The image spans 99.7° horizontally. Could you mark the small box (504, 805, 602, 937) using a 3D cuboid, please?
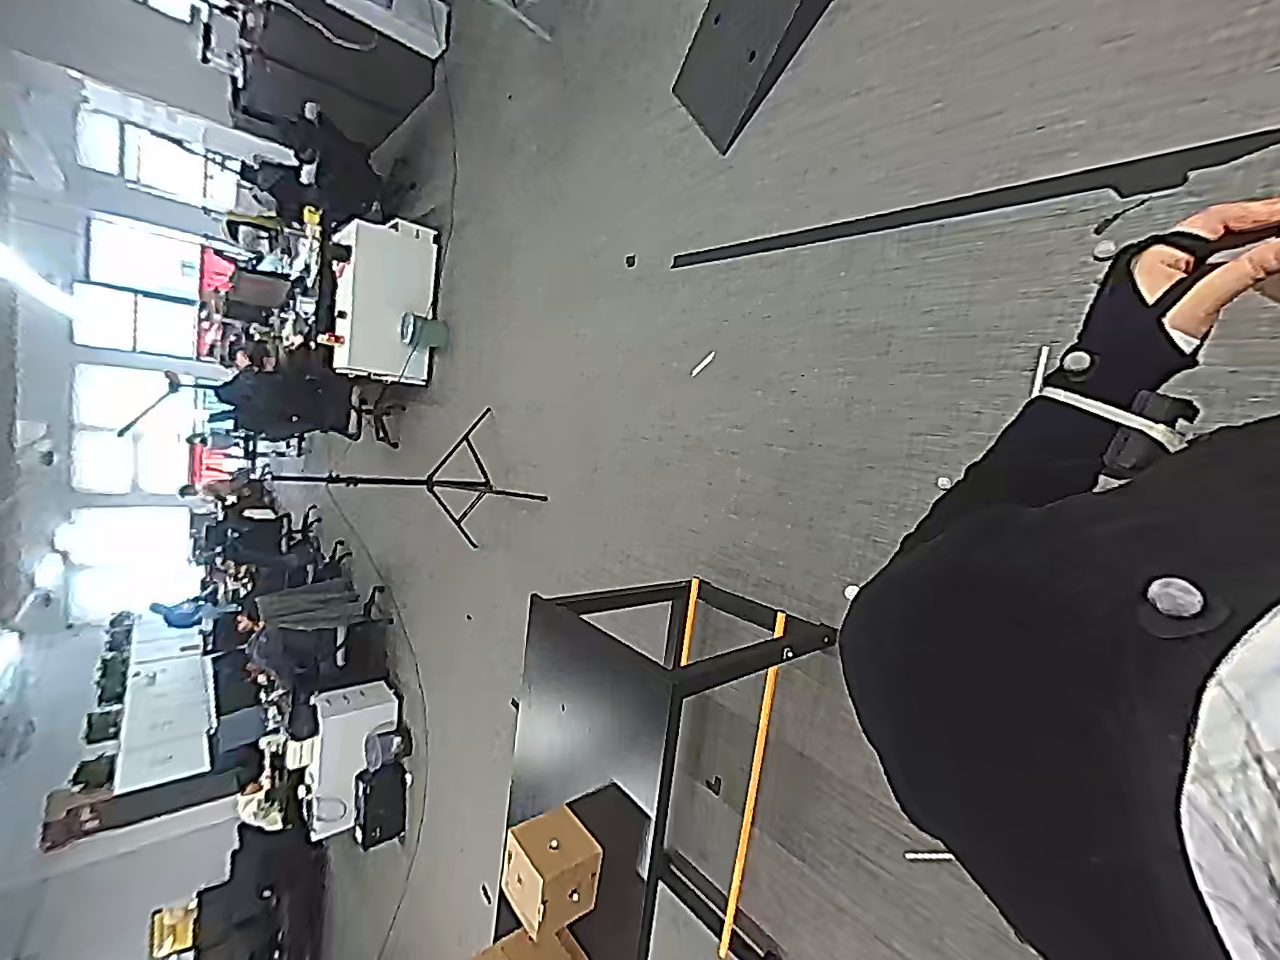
[{"bbox_3d":[-0.212,0.945,1.328,0.179,0.176,0.168,17,101,47],"label":"small box"}]

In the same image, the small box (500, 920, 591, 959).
[{"bbox_3d":[-0.245,1.240,1.356,0.179,0.176,0.168,14,100,47],"label":"small box"}]

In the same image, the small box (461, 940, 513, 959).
[{"bbox_3d":[-0.368,1.236,1.246,0.168,0.176,0.179,13,98,48],"label":"small box"}]
